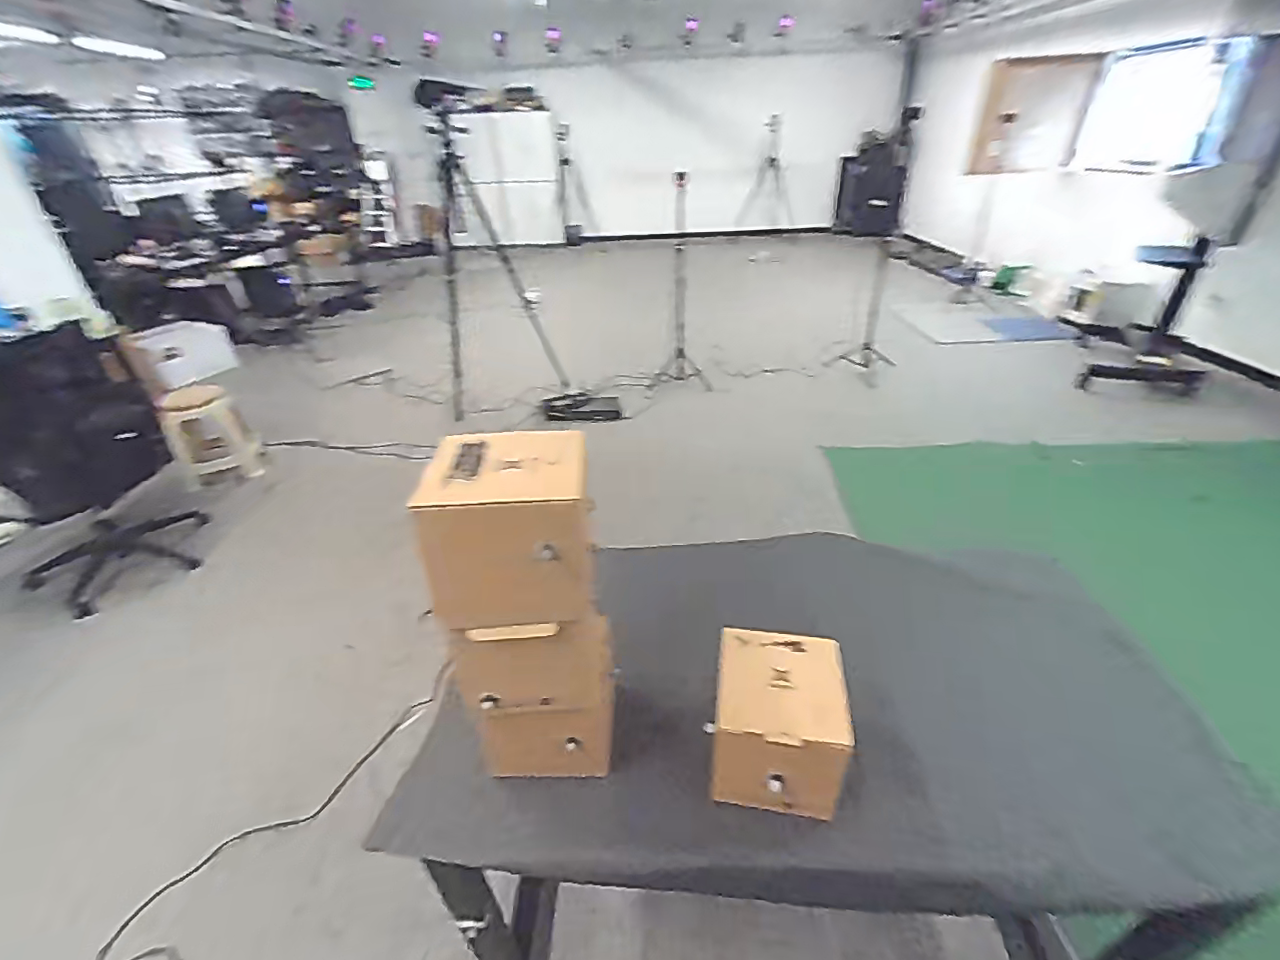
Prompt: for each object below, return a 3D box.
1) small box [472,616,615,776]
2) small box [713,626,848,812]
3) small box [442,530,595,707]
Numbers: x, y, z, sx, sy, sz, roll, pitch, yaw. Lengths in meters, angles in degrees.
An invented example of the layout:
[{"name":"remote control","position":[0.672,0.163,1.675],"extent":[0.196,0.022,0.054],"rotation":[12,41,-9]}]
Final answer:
[{"name":"small box","position":[-0.133,0.329,0.828],"extent":[0.179,0.176,0.168],"rotation":[-3,31,3]},{"name":"small box","position":[0.195,0.340,0.778],"extent":[0.168,0.176,0.179],"rotation":[3,33,11]},{"name":"small box","position":[-0.151,0.190,0.741],"extent":[0.168,0.176,0.179],"rotation":[-3,30,-2]}]
